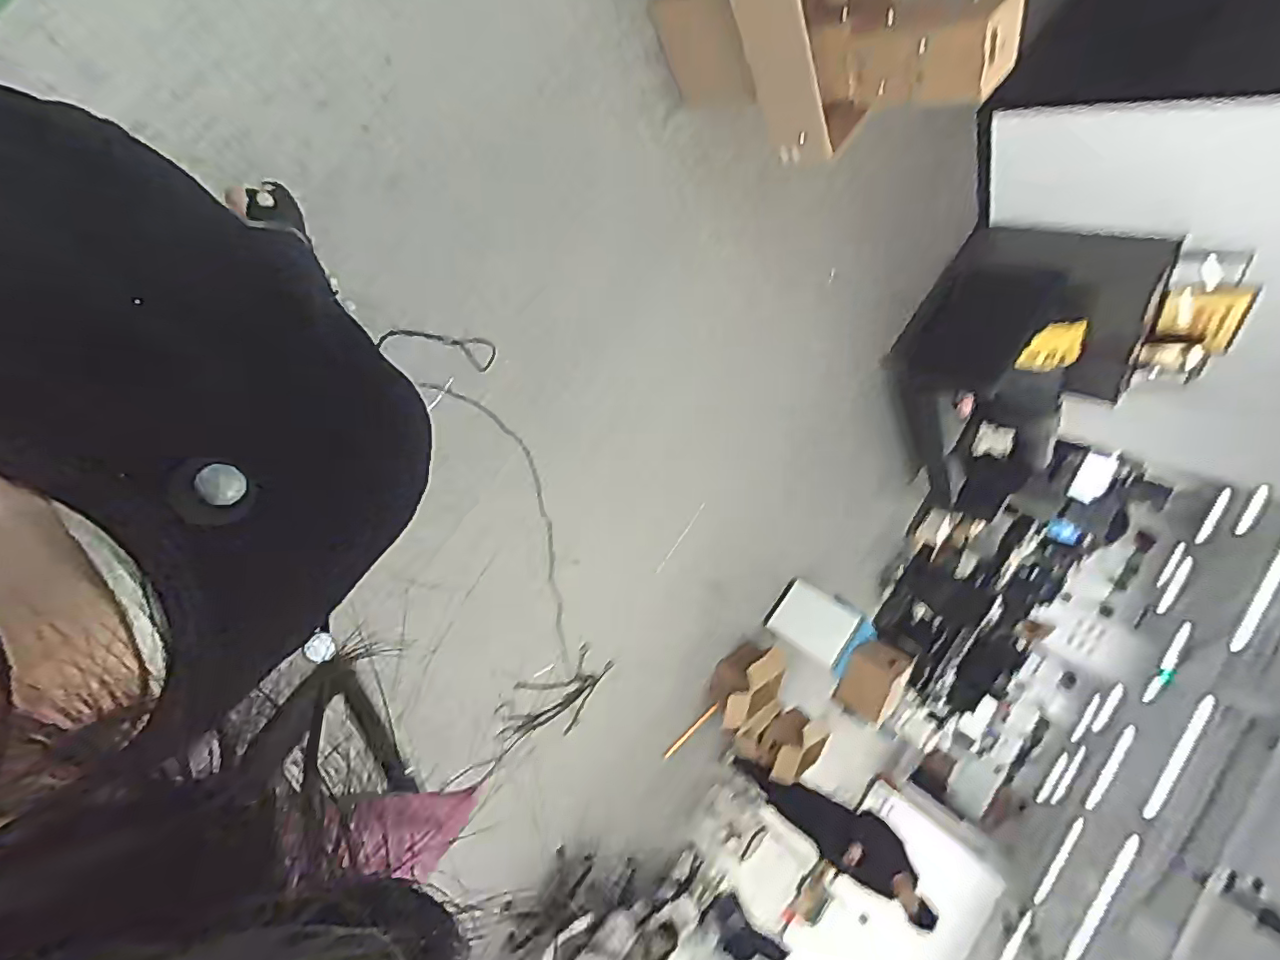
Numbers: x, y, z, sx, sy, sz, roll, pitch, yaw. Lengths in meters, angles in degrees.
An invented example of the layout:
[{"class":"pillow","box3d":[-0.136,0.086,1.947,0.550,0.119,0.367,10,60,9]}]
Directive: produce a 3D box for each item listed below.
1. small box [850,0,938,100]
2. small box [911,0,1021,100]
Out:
[{"class":"small box","box3d":[0.654,-1.102,1.378,0.179,0.176,0.168,-50,141,-12]},{"class":"small box","box3d":[0.763,-1.032,1.279,0.179,0.176,0.168,-49,141,-14]}]
